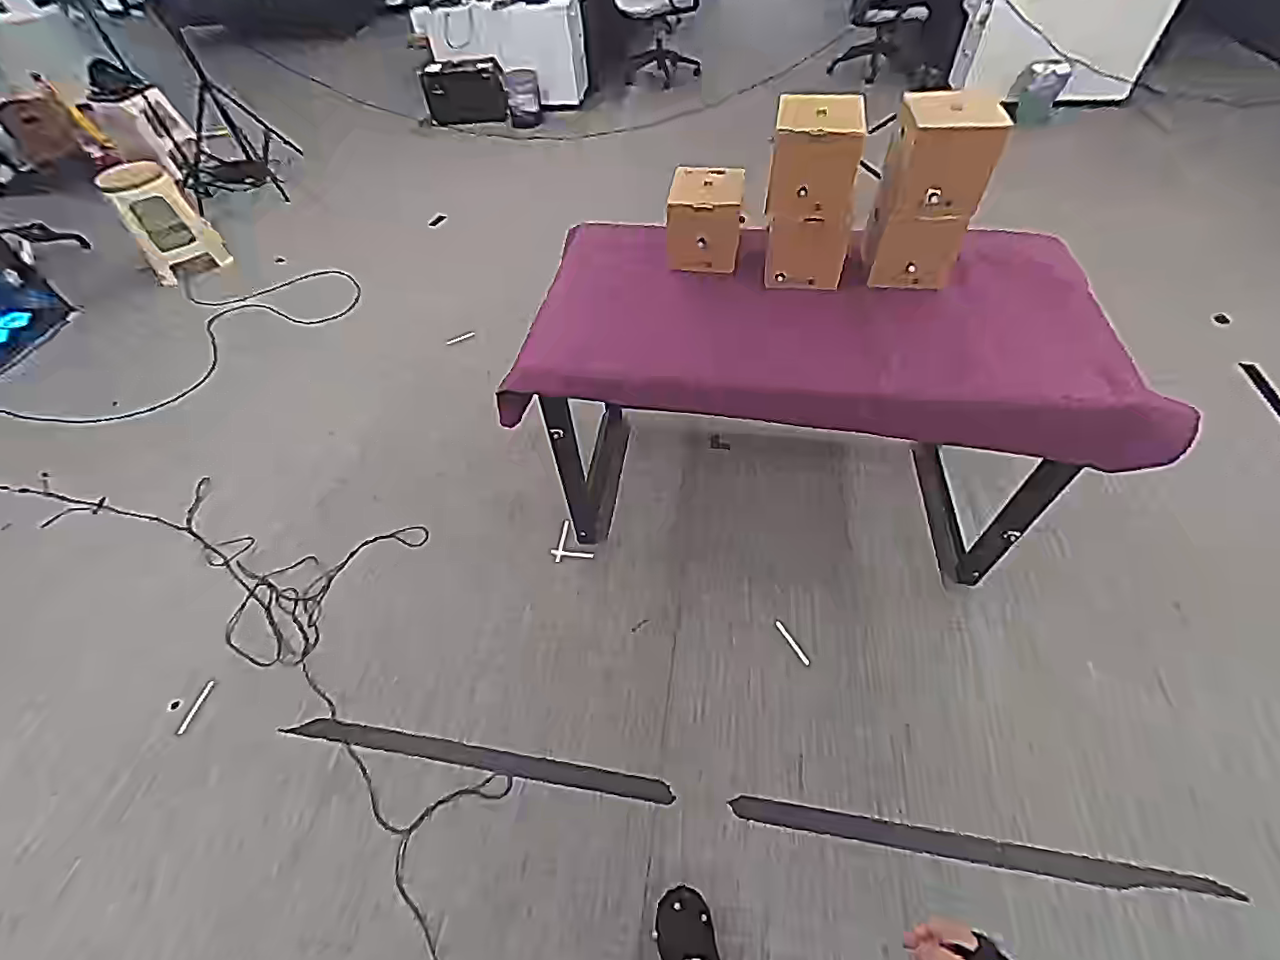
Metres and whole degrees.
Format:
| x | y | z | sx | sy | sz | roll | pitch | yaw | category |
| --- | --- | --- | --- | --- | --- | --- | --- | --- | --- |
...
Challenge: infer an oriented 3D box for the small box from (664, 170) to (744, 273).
| x | y | z | sx | sy | sz | roll | pitch | yaw | category |
| --- | --- | --- | --- | --- | --- | --- | --- | --- | --- |
| 0.156 | -0.624 | 1.309 | 0.168 | 0.176 | 0.179 | 7 | 55 | 9 | small box |

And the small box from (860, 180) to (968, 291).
| x | y | z | sx | sy | sz | roll | pitch | yaw | category |
| --- | --- | --- | --- | --- | --- | --- | --- | --- | --- |
| 0.610 | -0.555 | 1.227 | 0.168 | 0.176 | 0.179 | 5 | 54 | 9 | small box |

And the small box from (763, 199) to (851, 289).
| x | y | z | sx | sy | sz | roll | pitch | yaw | category |
| --- | --- | --- | --- | --- | --- | --- | --- | --- | --- |
| 0.379 | -0.560 | 1.247 | 0.168 | 0.176 | 0.179 | 5 | 53 | 8 | small box |

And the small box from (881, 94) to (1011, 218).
| x | y | z | sx | sy | sz | roll | pitch | yaw | category |
| --- | --- | --- | --- | --- | --- | --- | --- | --- | --- |
| 0.607 | -0.657 | 1.101 | 0.168 | 0.176 | 0.179 | 3 | 54 | 7 | small box |

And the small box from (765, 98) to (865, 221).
| x | y | z | sx | sy | sz | roll | pitch | yaw | category |
| --- | --- | --- | --- | --- | --- | --- | --- | --- | --- |
| 0.357 | -0.665 | 1.124 | 0.168 | 0.176 | 0.179 | 7 | 55 | 9 | small box |
